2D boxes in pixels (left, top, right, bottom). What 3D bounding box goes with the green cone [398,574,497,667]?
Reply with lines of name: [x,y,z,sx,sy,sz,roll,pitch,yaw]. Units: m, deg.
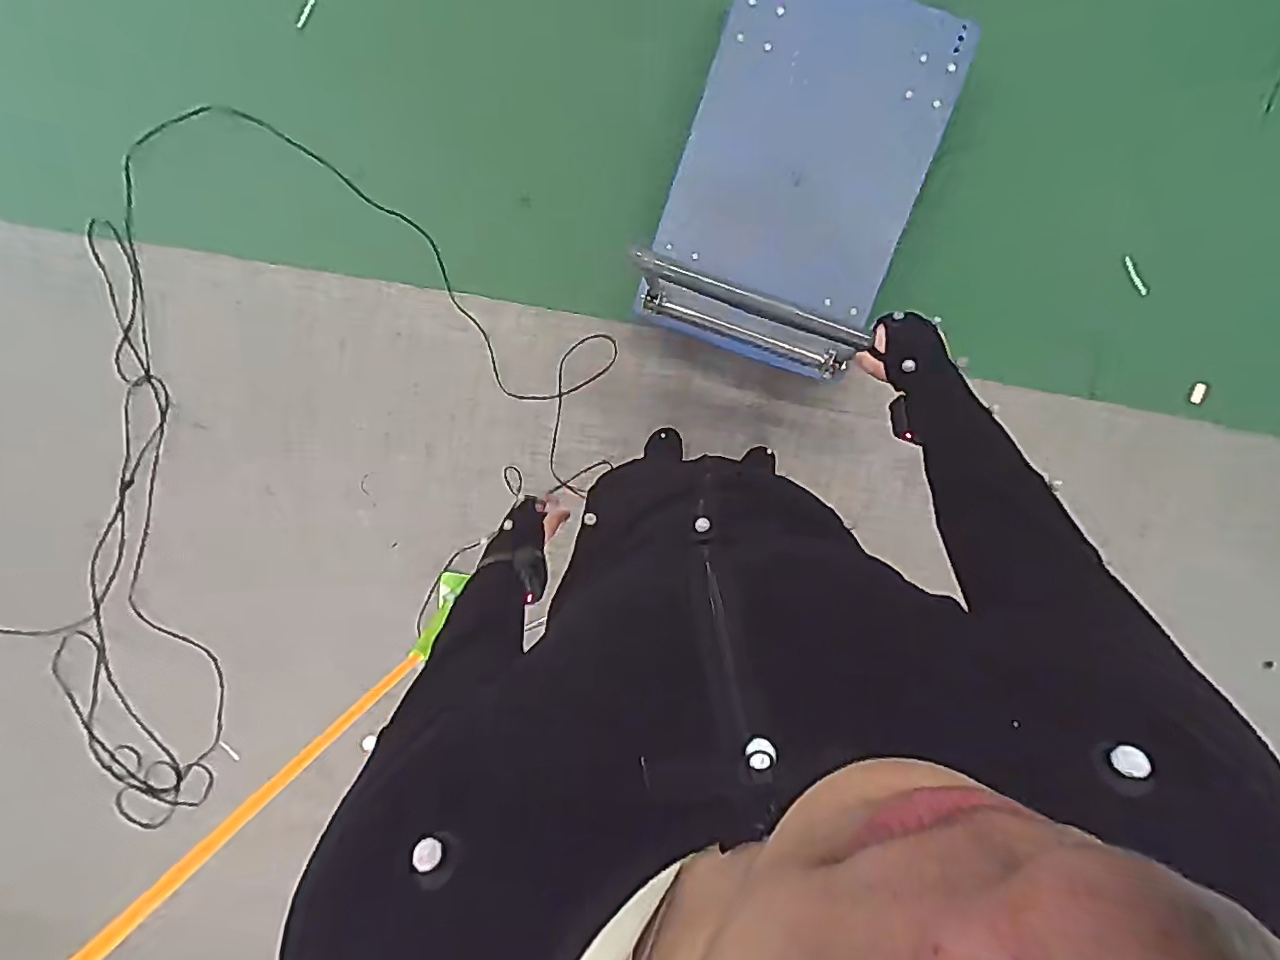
green cone: [-0.572,0.427,1.546,0.202,0.368,0.200,7,99,5]
